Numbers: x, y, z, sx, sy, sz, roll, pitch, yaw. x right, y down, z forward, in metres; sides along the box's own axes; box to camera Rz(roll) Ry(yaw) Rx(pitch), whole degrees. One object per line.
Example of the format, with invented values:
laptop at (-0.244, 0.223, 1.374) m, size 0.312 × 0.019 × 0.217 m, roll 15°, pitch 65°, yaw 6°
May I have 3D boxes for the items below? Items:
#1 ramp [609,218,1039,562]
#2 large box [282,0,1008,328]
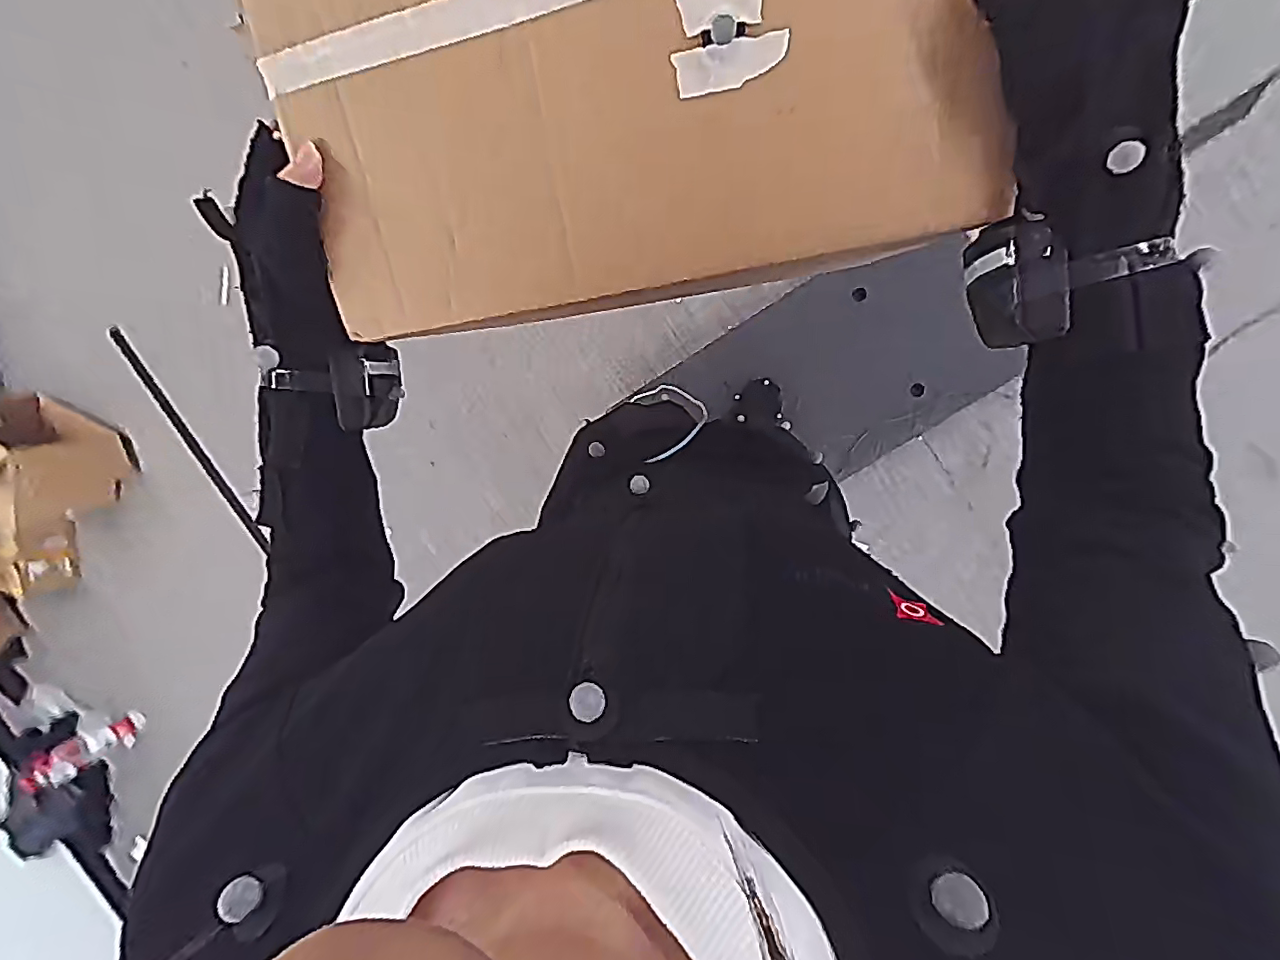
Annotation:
ramp at (0.456, -0.243, 1.404) m, size 0.991 × 0.206 × 0.509 m, roll -34°, pitch 90°, yaw 16°
large box at (0.005, -0.318, 0.435) m, size 0.408 × 0.320 × 0.320 m, roll -6°, pitch 107°, yaw 12°
